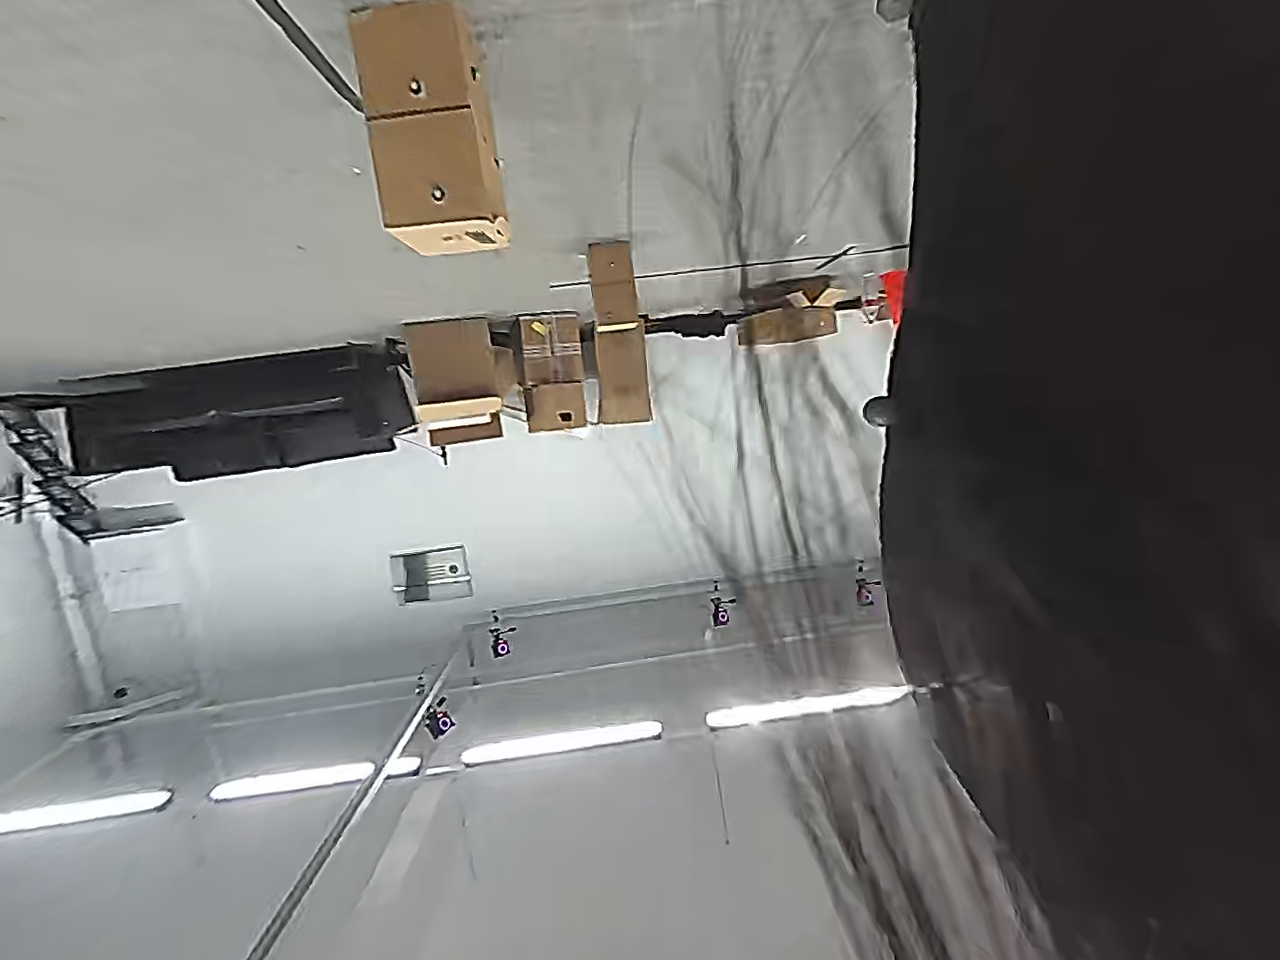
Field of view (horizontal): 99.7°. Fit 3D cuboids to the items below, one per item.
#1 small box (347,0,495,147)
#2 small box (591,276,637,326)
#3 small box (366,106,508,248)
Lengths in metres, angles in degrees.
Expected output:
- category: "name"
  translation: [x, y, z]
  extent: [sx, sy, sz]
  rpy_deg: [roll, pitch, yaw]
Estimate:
- category: "small box"
  translation: [-0.367, -0.686, 0.925]
  extent: [0.179, 0.176, 0.168]
  rpy_deg: [-6, -172, 2]
- category: "small box"
  translation: [-0.116, -0.771, 2.326]
  extent: [0.179, 0.176, 0.168]
  rpy_deg: [-9, -170, -6]
- category: "small box"
  translation: [-0.346, -0.524, 0.946]
  extent: [0.179, 0.176, 0.168]
  rpy_deg: [-6, -171, 1]
